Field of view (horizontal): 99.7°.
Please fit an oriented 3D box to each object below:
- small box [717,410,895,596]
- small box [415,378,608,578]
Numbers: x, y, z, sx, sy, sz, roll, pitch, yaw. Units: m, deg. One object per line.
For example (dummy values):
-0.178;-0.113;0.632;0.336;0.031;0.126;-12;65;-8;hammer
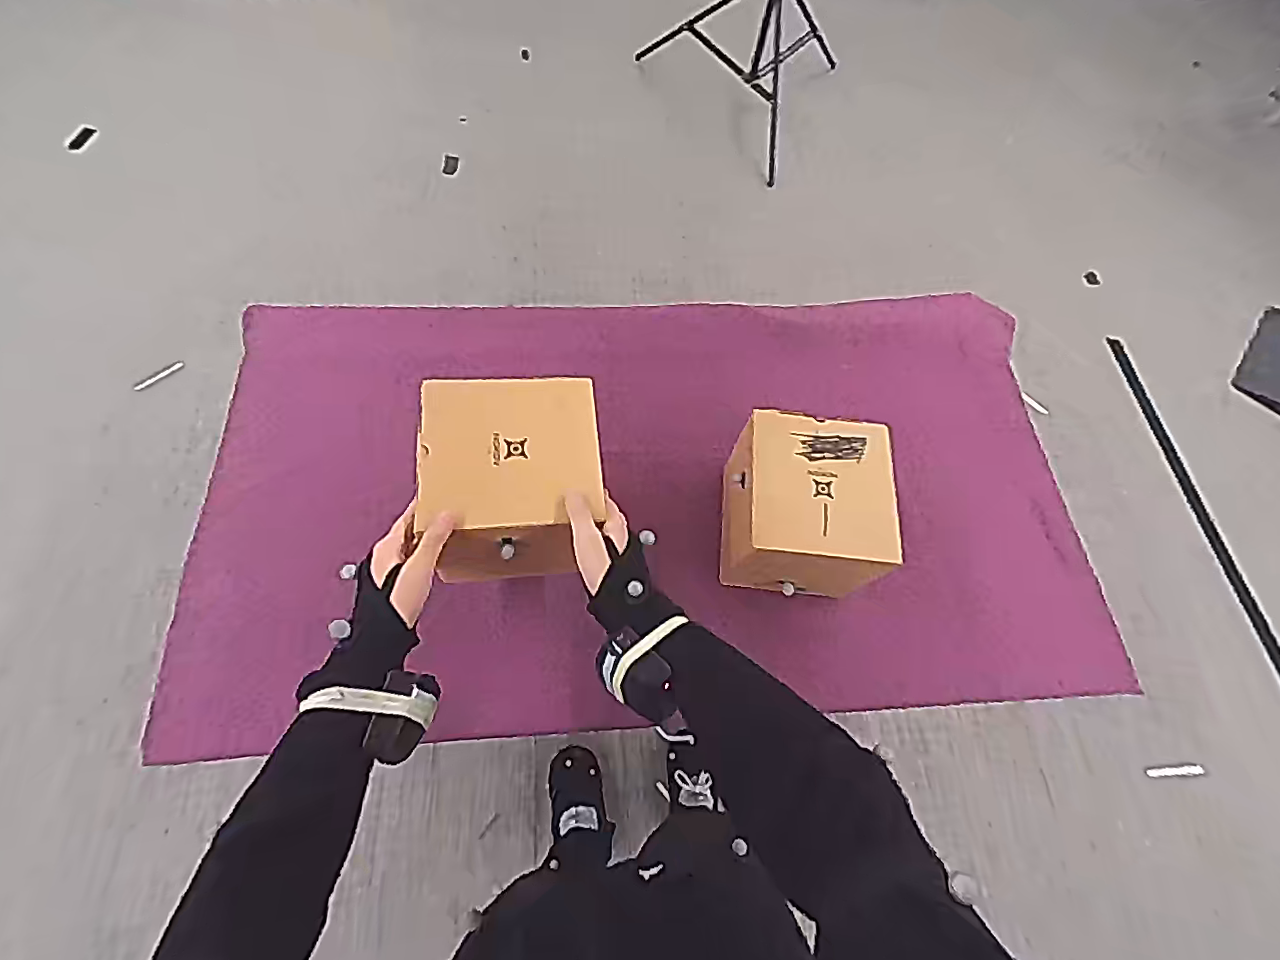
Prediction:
0.196;0.036;0.687;0.168;0.176;0.179;7;66;-1;small box
-0.137;0.003;0.600;0.179;0.176;0.168;-4;65;-11;small box
